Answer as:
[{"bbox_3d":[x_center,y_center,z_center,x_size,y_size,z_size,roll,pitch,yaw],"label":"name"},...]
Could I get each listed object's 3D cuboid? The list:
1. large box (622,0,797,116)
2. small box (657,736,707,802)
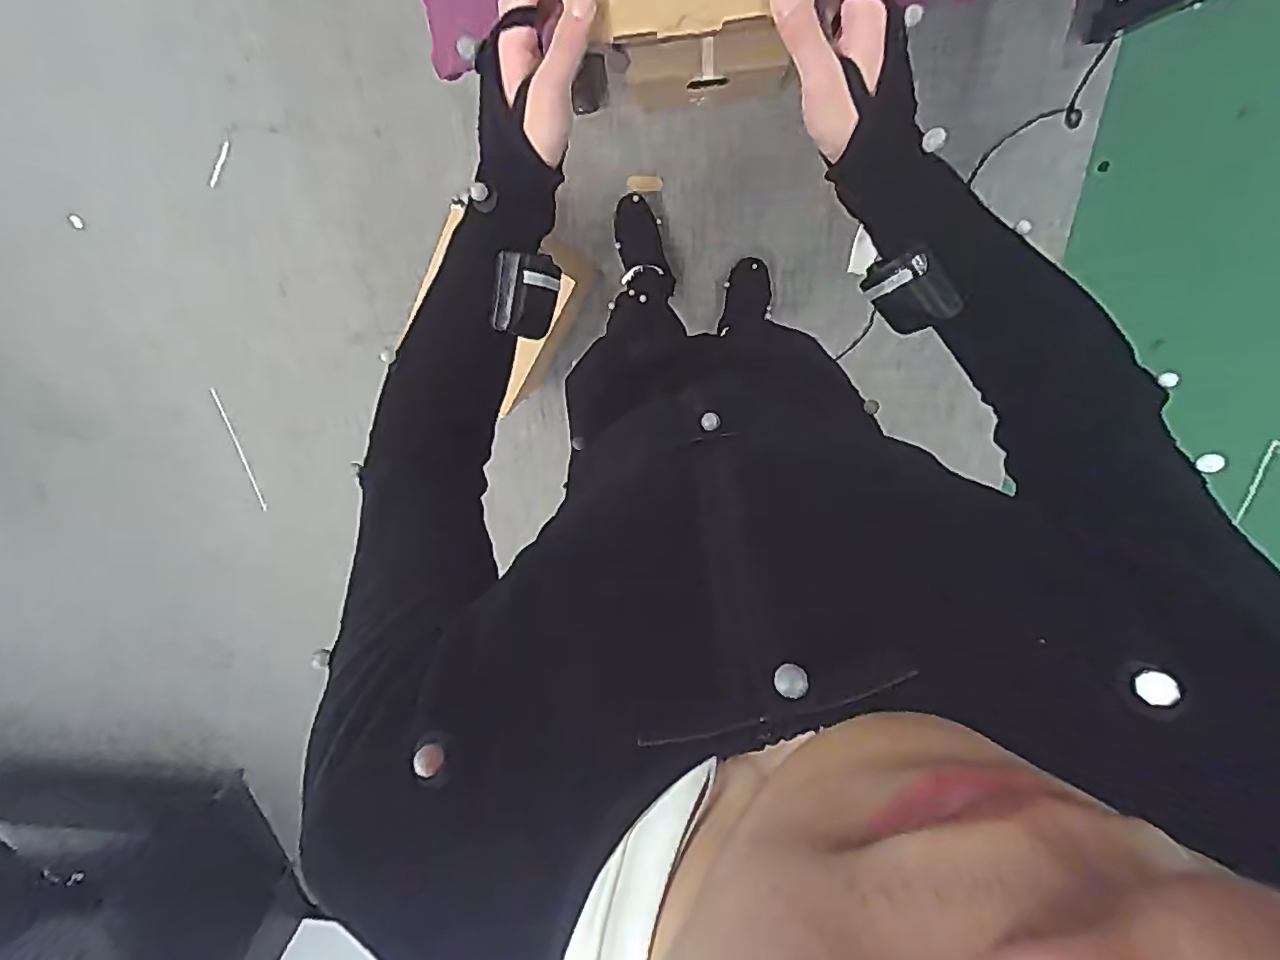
[{"bbox_3d":[0.136,-1.000,1.069,0.320,0.320,0.408,-1,115,8],"label":"large box"},{"bbox_3d":[0.167,1.128,2.121,0.179,0.176,0.168,-4,115,10],"label":"small box"}]
